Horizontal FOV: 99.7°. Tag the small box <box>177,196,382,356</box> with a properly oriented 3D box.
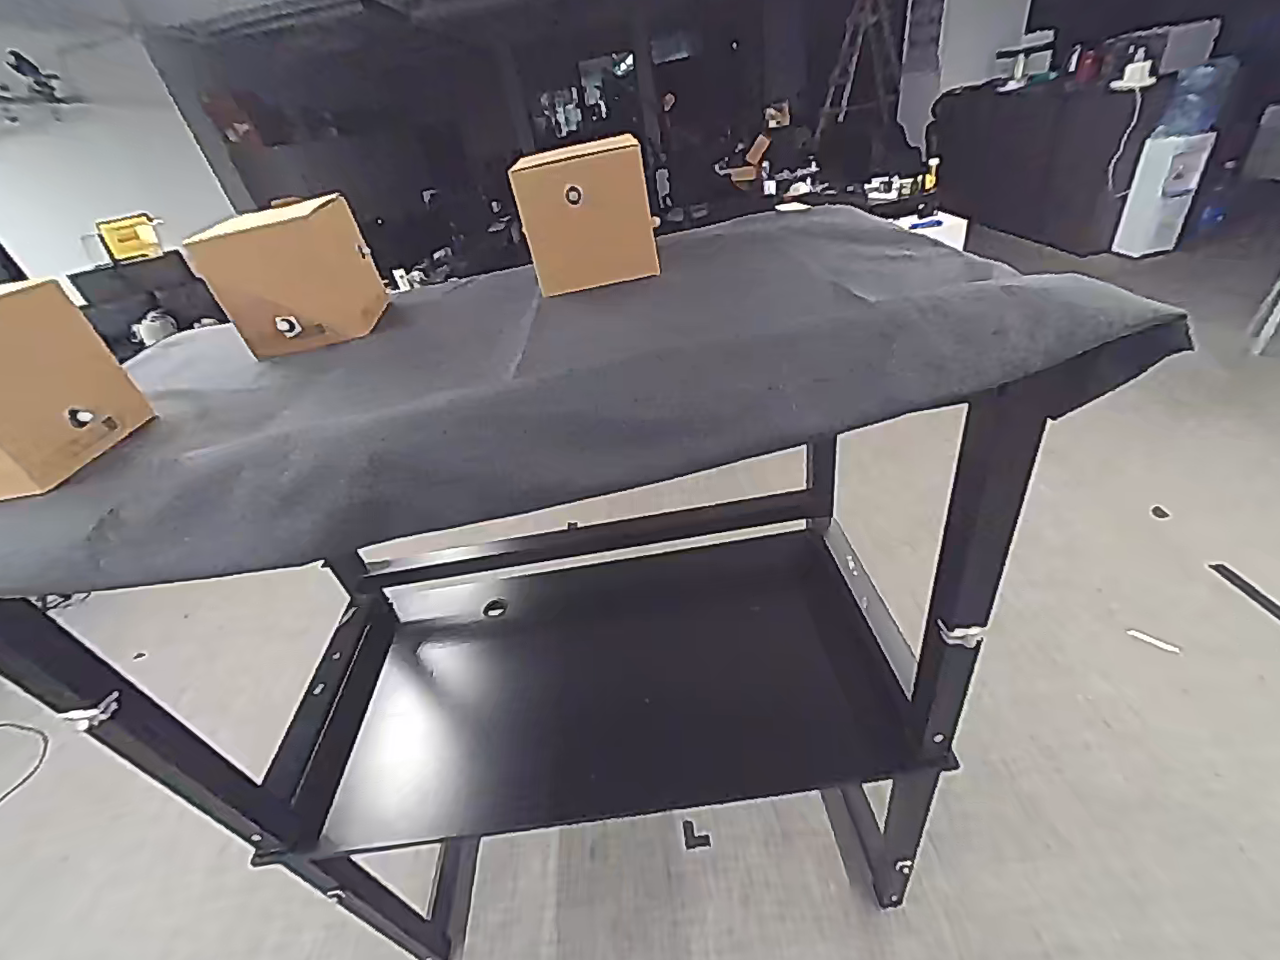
[{"bbox_3d":[-0.507,-0.302,0.797,0.168,0.176,0.179,-15,35,-2],"label":"small box"}]

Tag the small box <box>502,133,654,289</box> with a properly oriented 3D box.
[{"bbox_3d":[-0.083,-0.395,0.798,0.179,0.176,0.168,-11,36,2],"label":"small box"}]
